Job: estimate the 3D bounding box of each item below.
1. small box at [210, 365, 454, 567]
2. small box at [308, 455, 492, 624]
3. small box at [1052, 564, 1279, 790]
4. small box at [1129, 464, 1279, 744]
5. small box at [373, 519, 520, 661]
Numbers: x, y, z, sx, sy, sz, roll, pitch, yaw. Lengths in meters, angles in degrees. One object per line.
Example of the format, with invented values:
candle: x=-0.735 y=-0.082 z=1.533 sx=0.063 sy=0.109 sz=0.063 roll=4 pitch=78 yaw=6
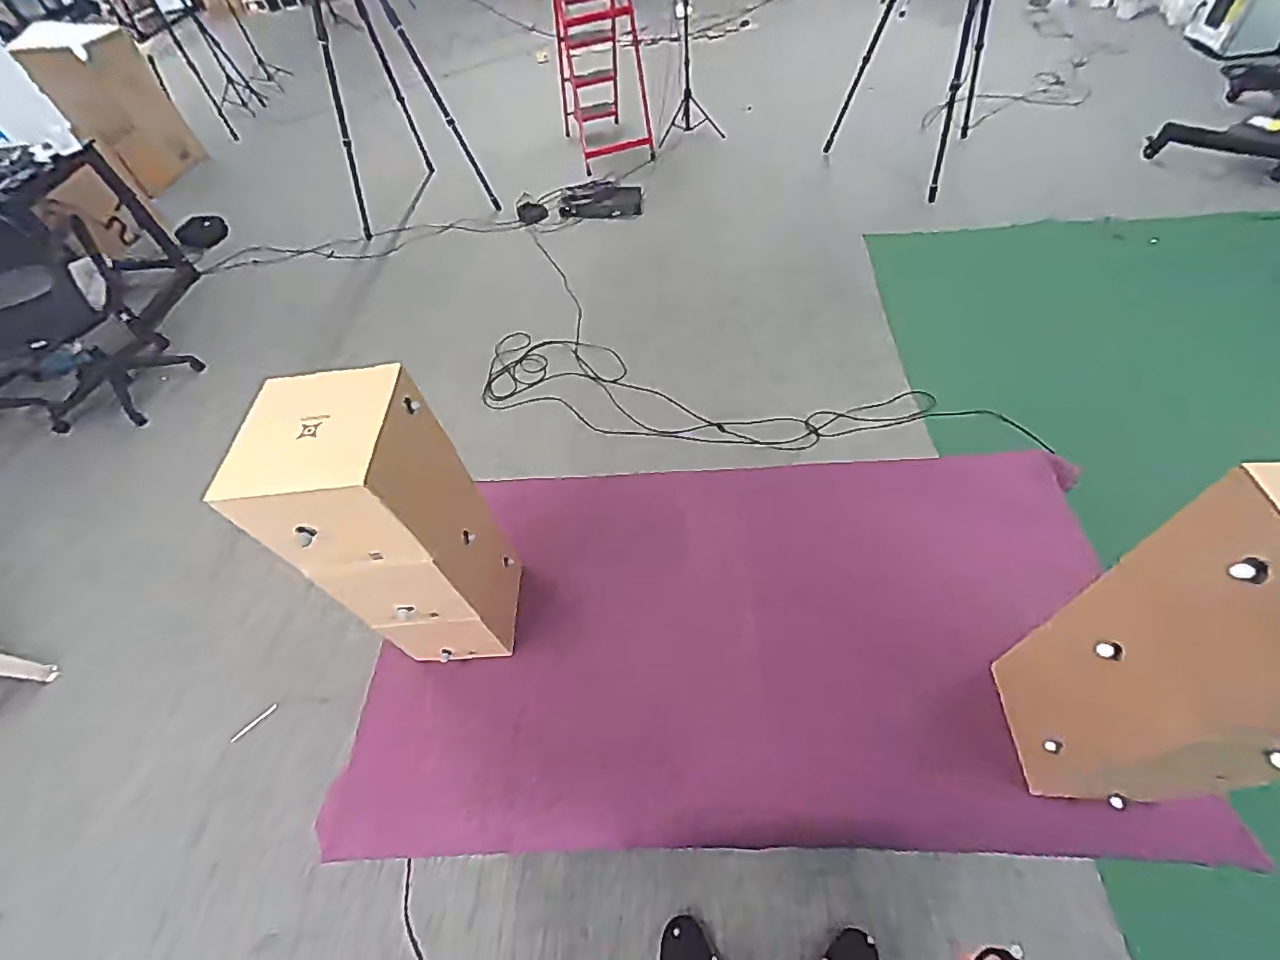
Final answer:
small box: x=-0.338 y=-0.008 z=0.639 sx=0.168 sy=0.176 sz=0.179 roll=-6 pitch=53 yaw=4
small box: x=-0.321 y=0.088 z=0.769 sx=0.168 sy=0.176 sz=0.179 roll=-5 pitch=54 yaw=4
small box: x=0.582 y=0.207 z=0.567 sx=0.168 sy=0.176 sz=0.179 roll=0 pitch=52 yaw=8
small box: x=0.564 y=0.104 z=0.439 sx=0.168 sy=0.176 sz=0.179 roll=-1 pitch=54 yaw=8
small box: x=-0.306 y=0.185 z=0.900 sx=0.168 sy=0.176 sz=0.179 roll=-5 pitch=54 yaw=4
